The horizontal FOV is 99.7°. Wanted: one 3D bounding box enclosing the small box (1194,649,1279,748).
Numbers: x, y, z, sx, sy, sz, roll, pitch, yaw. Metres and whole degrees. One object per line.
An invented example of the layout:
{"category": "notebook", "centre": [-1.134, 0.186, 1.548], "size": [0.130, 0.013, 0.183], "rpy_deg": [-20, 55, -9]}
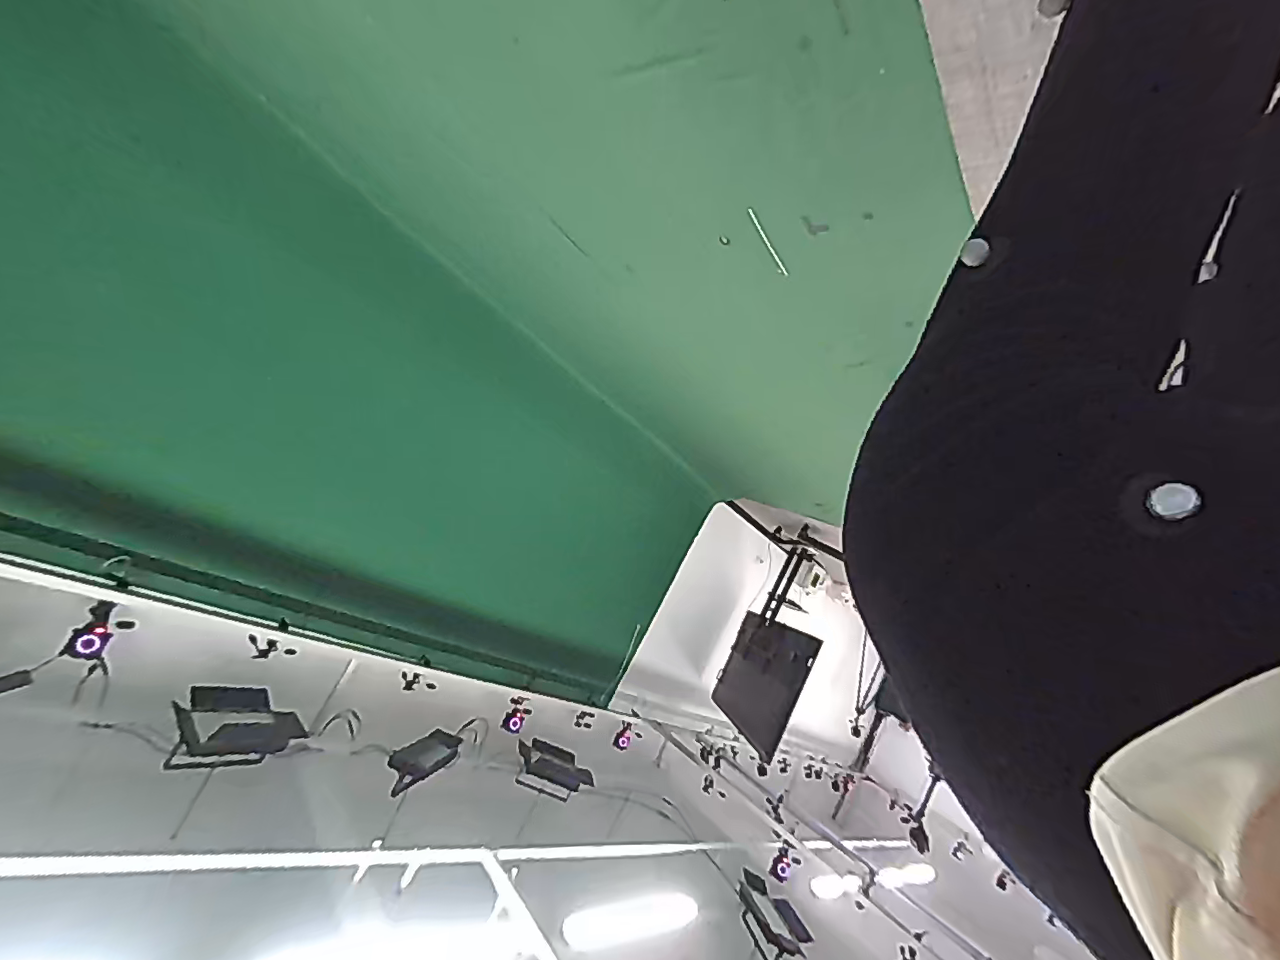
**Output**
{"category": "small box", "centre": [1.533, 0.547, 1.350], "size": [0.179, 0.176, 0.168], "rpy_deg": [32, 171, -33]}
